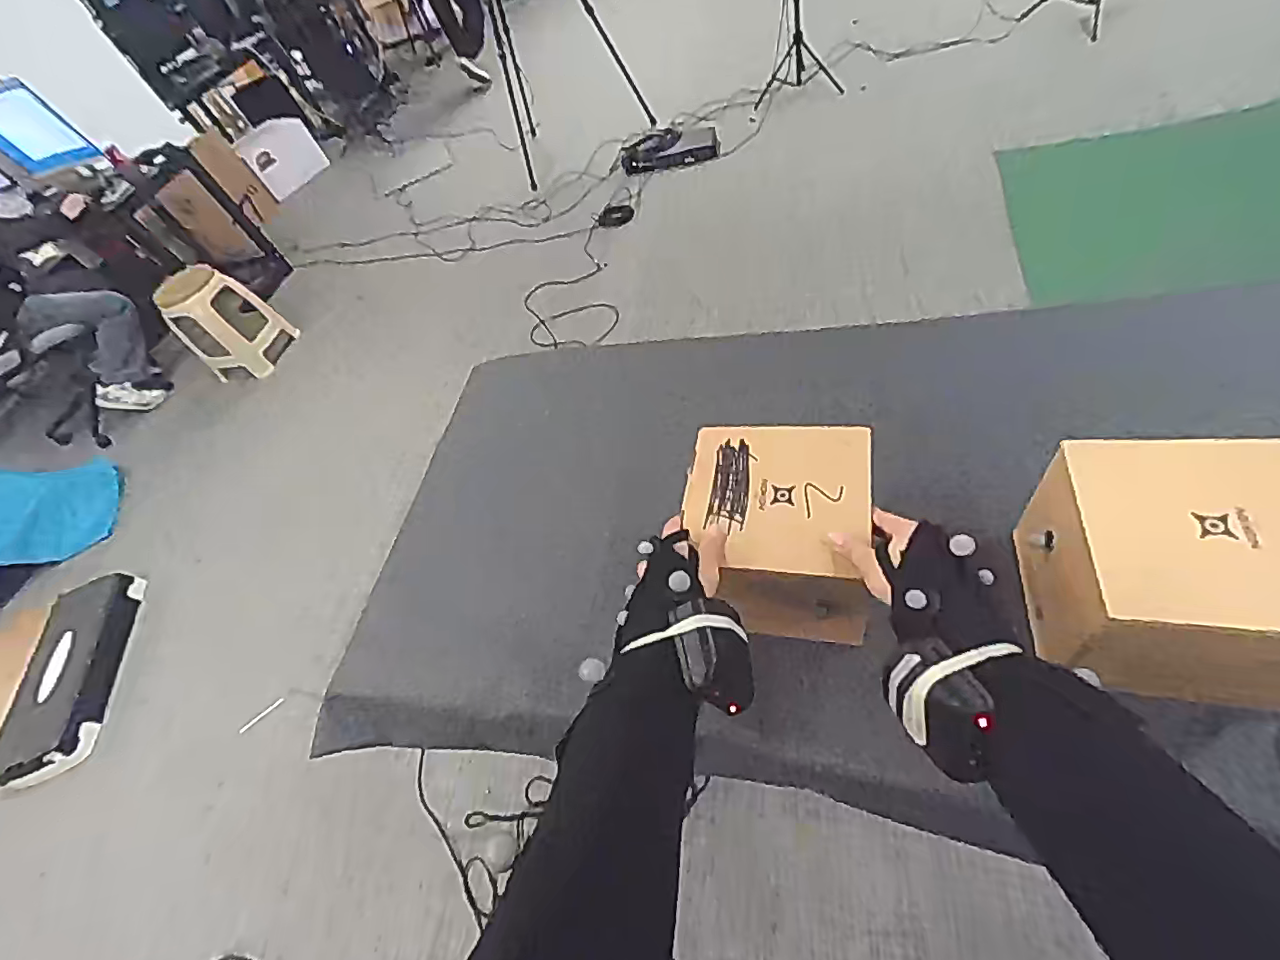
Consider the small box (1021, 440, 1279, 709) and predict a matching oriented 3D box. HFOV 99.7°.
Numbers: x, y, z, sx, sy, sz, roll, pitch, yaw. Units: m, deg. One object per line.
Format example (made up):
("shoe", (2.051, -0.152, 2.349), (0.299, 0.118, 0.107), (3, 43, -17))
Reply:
("small box", (0.451, 0.082, 0.461), (0.179, 0.176, 0.168), (1, 56, 20))
